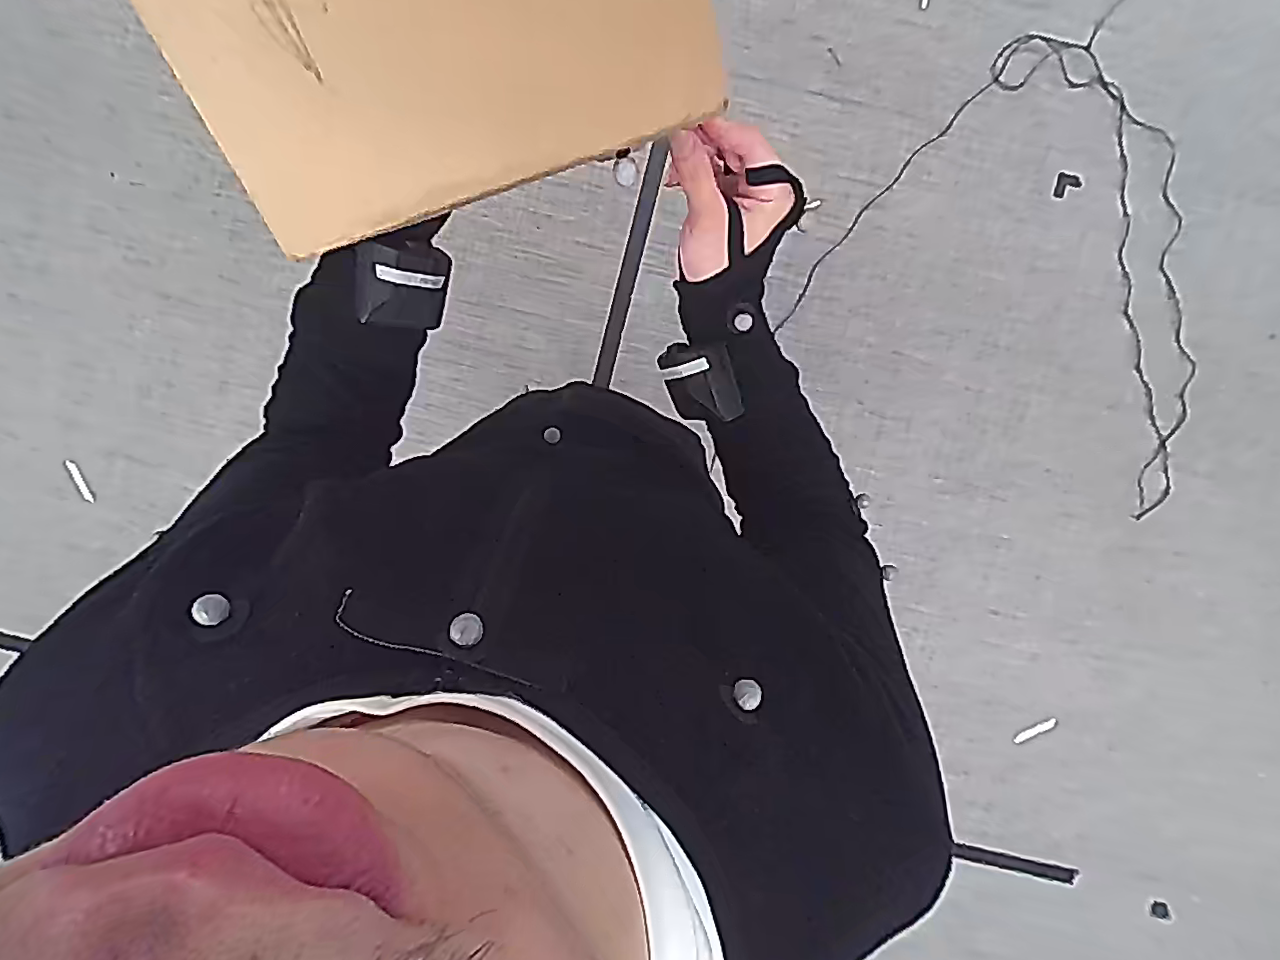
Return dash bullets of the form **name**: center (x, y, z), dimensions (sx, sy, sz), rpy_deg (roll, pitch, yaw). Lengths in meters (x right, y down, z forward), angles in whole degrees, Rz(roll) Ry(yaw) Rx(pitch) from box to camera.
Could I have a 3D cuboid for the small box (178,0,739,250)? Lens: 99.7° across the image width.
- **small box**: center (-0.069, -0.220, 0.235), dimensions (0.179, 0.176, 0.168), rpy_deg (-15, 118, 10)
